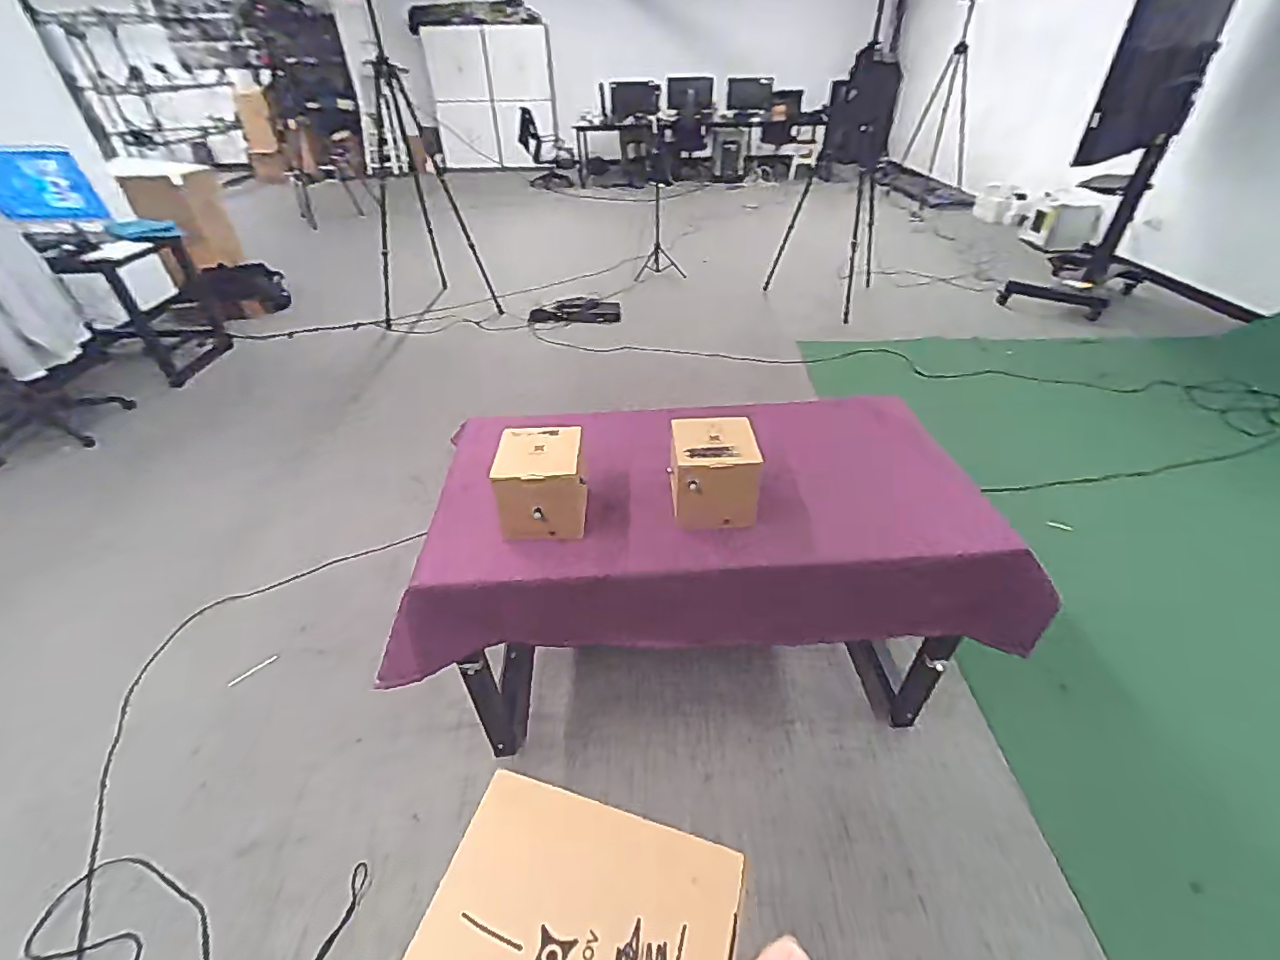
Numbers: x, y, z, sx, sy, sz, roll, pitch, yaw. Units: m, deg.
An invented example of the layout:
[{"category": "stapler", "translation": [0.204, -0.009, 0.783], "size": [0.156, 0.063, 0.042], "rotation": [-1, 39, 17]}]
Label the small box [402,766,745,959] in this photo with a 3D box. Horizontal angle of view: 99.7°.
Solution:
[{"category": "small box", "translation": [-0.042, 0.326, 0.351], "size": [0.179, 0.176, 0.168], "rotation": [12, 41, 14]}]

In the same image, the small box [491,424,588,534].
[{"category": "small box", "translation": [-0.198, 0.000, 1.127], "size": [0.168, 0.176, 0.179], "rotation": [0, 39, 0]}]
